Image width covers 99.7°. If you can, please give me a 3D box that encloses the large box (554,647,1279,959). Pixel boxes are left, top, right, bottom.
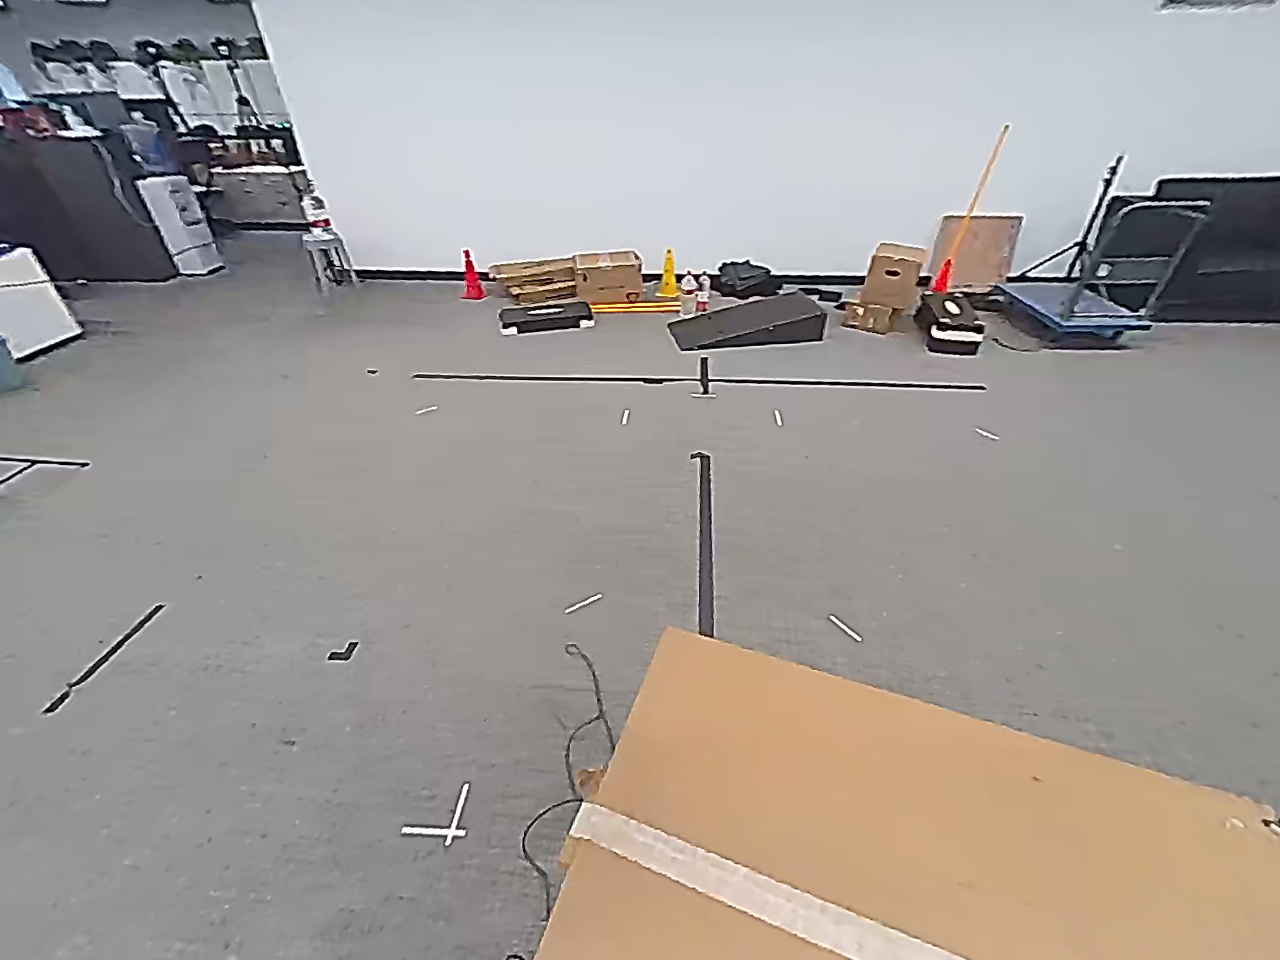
[{"bbox_3d":[0.164,0.384,0.405,0.408,0.320,0.320,12,46,17],"label":"large box"}]
